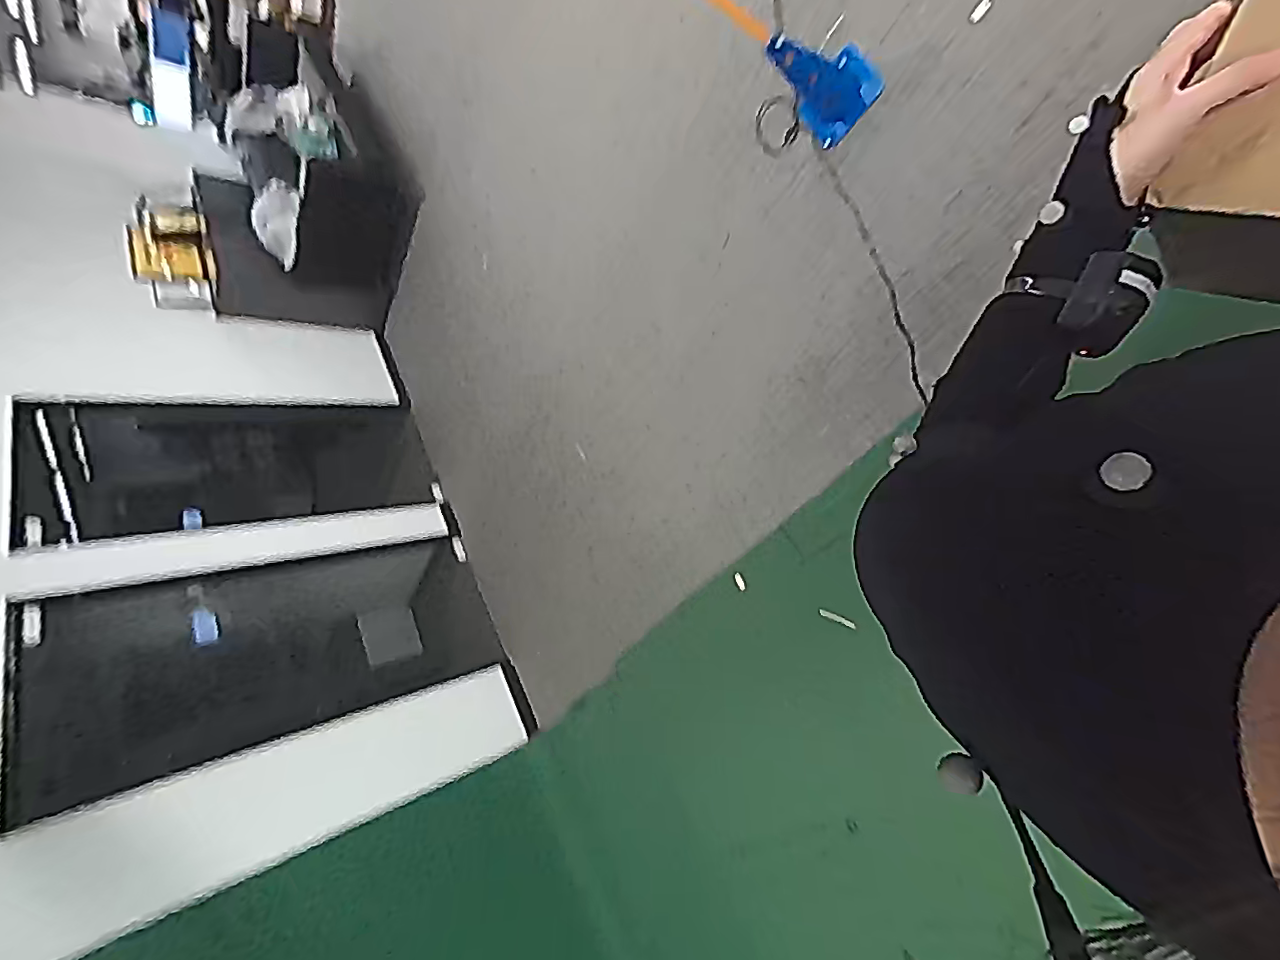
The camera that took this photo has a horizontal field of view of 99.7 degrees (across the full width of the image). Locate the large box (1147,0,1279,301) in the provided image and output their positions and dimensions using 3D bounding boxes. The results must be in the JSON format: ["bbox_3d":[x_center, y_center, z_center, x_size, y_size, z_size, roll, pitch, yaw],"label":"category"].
[{"bbox_3d":[0.634,-0.274,0.325,0.408,0.320,0.320,30,114,40],"label":"large box"}]

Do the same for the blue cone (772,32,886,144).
[{"bbox_3d":[0.462,-1.082,1.429,0.193,0.380,0.192,-40,66,43],"label":"blue cone"}]
